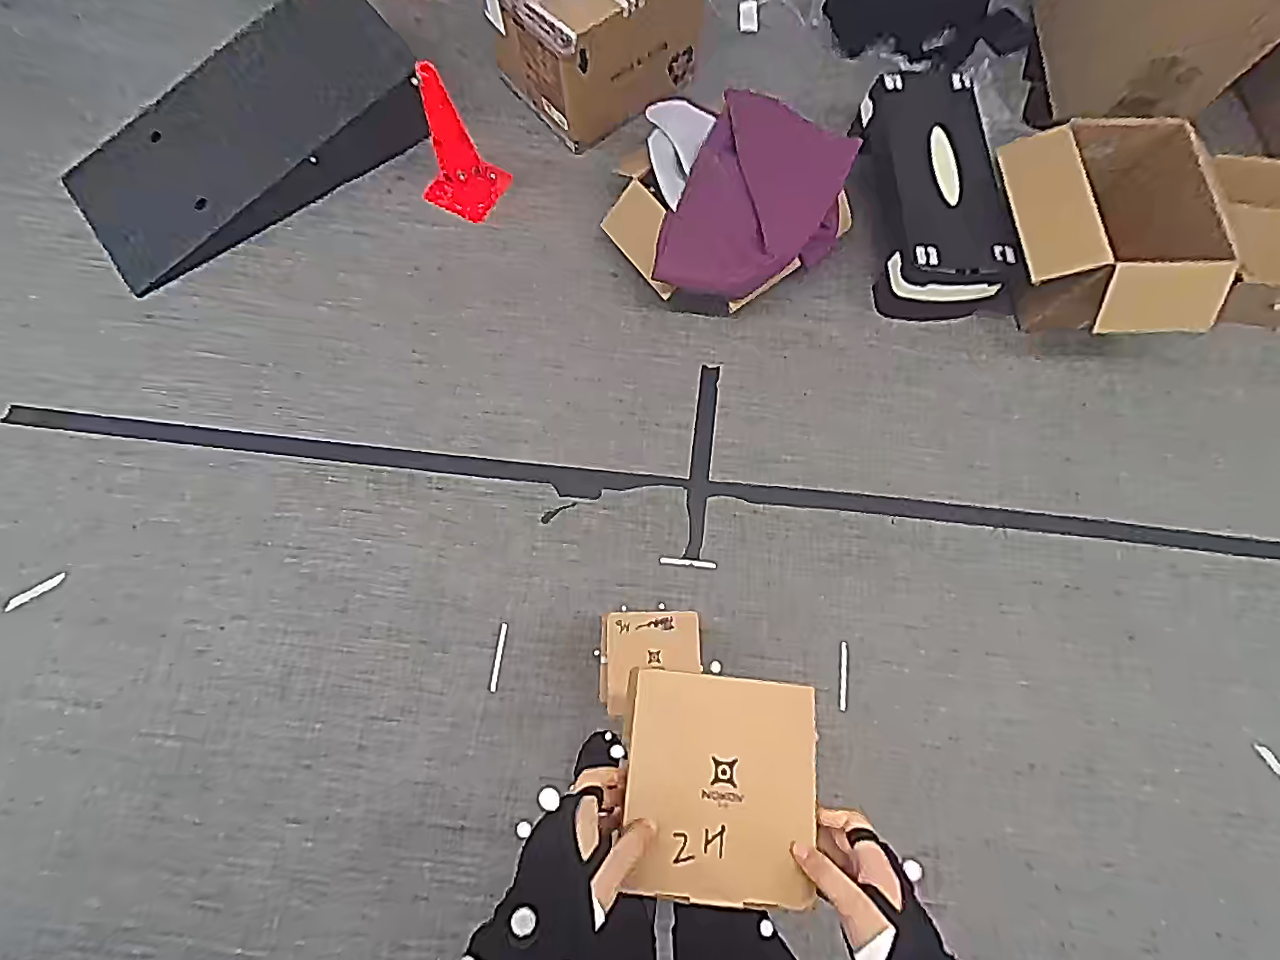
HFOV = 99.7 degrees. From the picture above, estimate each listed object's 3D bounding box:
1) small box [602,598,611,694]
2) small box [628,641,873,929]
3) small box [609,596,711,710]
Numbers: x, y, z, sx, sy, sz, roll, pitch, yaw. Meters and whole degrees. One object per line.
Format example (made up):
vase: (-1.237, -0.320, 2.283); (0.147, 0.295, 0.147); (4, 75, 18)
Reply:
small box: (0.009, 0.333, 1.101); (0.168, 0.176, 0.179); (0, 76, -1)
small box: (0.080, 0.242, 0.469); (0.168, 0.176, 0.179); (6, 71, -2)
small box: (0.032, 0.294, 0.943); (0.168, 0.176, 0.179); (-1, 76, -2)
